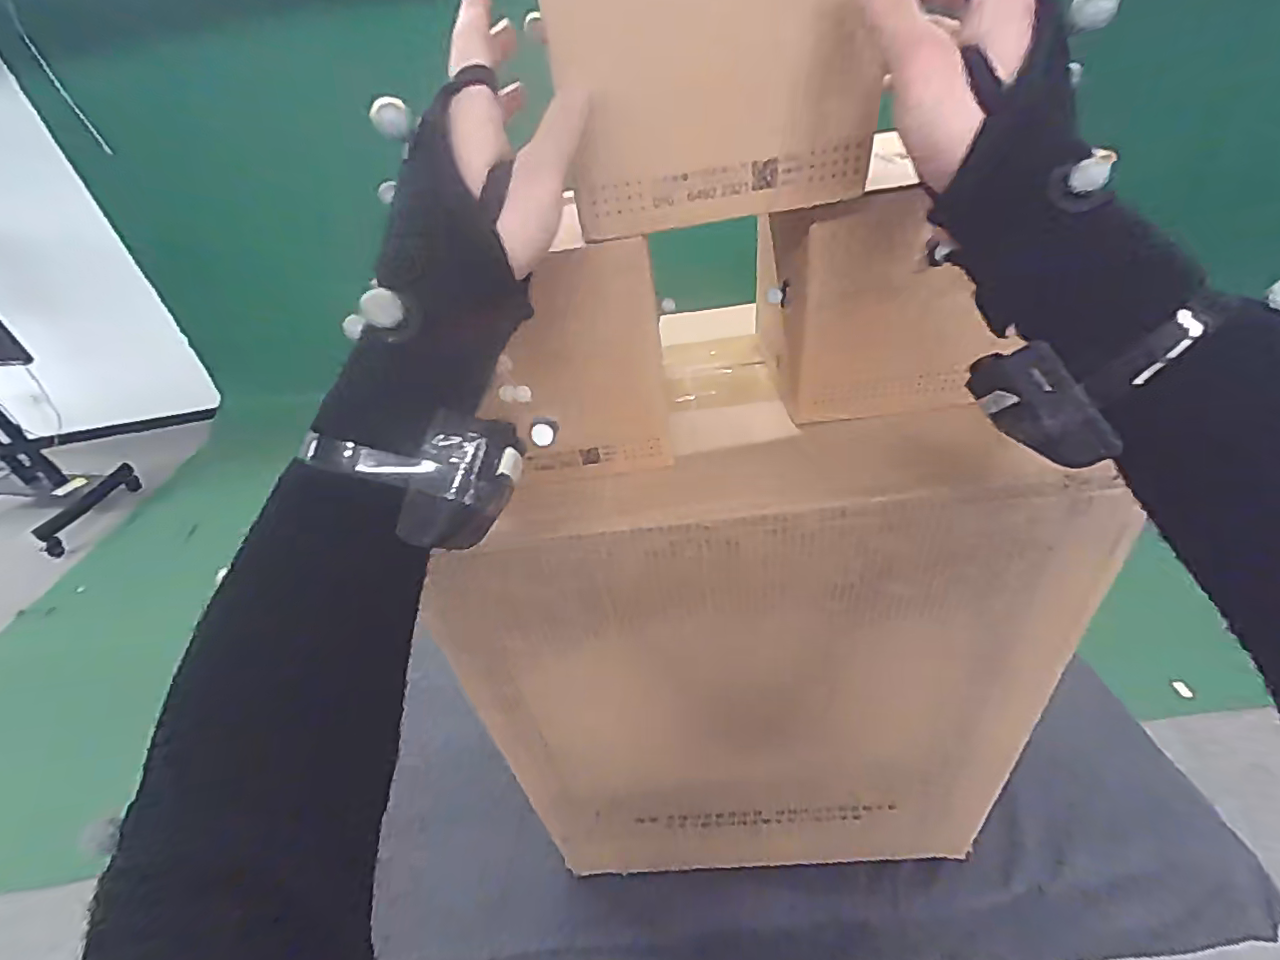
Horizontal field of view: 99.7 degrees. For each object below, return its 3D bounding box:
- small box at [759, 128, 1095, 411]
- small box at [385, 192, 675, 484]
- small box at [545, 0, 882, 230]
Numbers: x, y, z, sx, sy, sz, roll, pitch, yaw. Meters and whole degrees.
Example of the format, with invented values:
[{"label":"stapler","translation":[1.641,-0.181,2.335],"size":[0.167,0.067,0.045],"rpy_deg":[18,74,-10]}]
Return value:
[{"label":"small box","translation":[0.196,-0.168,0.438],"size":[0.179,0.176,0.168],"rpy_deg":[-6,39,2]},{"label":"small box","translation":[-0.065,-0.119,0.434],"size":[0.168,0.176,0.179],"rpy_deg":[-7,39,5]},{"label":"small box","translation":[0.030,-0.266,0.331],"size":[0.168,0.176,0.179],"rpy_deg":[-10,38,-1]}]
